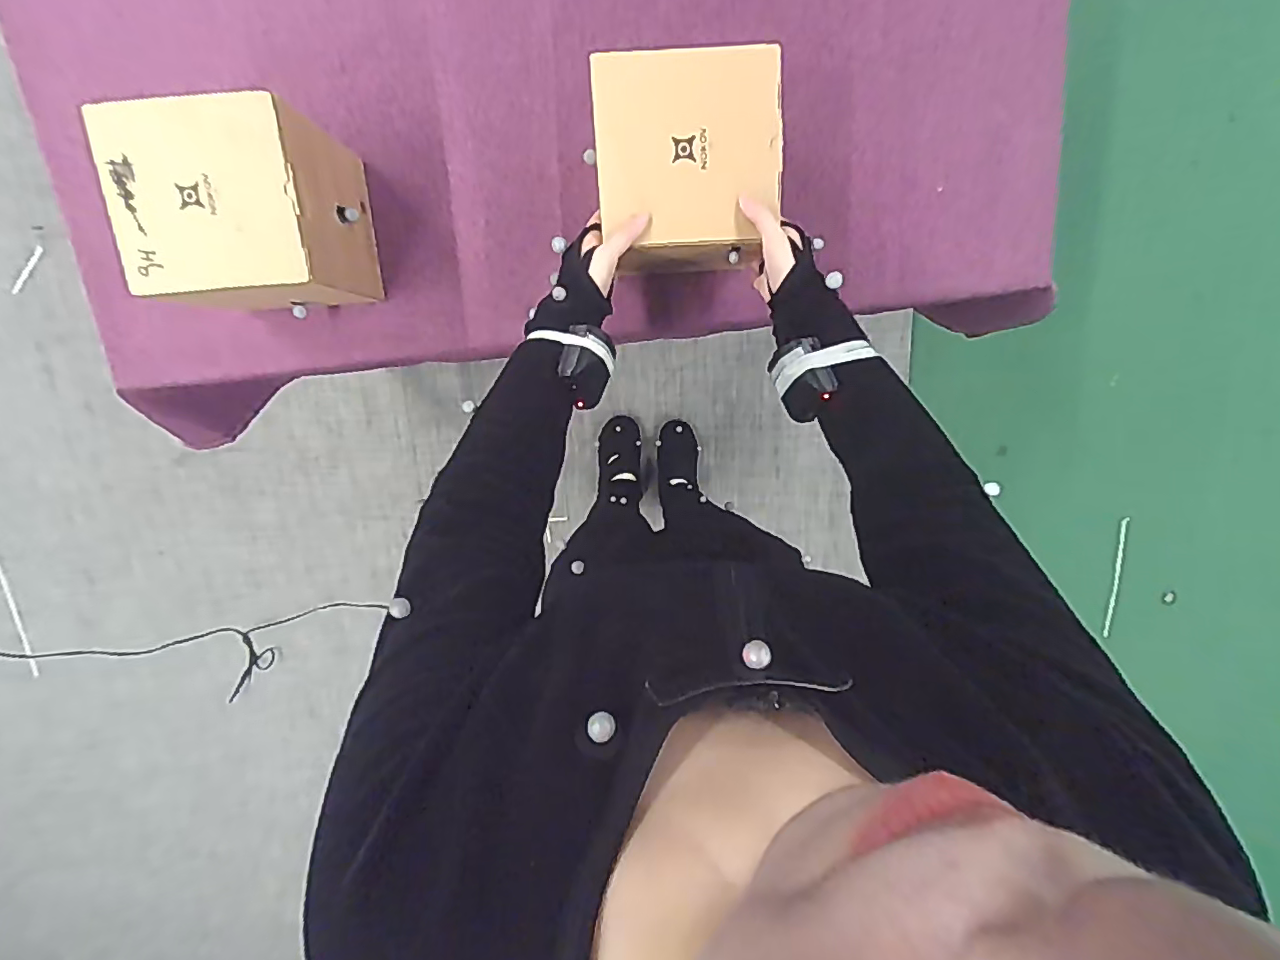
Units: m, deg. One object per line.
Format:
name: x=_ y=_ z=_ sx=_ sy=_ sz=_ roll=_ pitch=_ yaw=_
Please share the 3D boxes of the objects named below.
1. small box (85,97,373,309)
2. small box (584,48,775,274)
small box: x=-0.412 y=-0.281 z=0.583 sx=0.179 sy=0.176 sz=0.168 roll=-4 pitch=102 yaw=-1
small box: x=0.039 y=-0.324 z=0.583 sx=0.179 sy=0.176 sz=0.168 roll=-3 pitch=102 yaw=-1
